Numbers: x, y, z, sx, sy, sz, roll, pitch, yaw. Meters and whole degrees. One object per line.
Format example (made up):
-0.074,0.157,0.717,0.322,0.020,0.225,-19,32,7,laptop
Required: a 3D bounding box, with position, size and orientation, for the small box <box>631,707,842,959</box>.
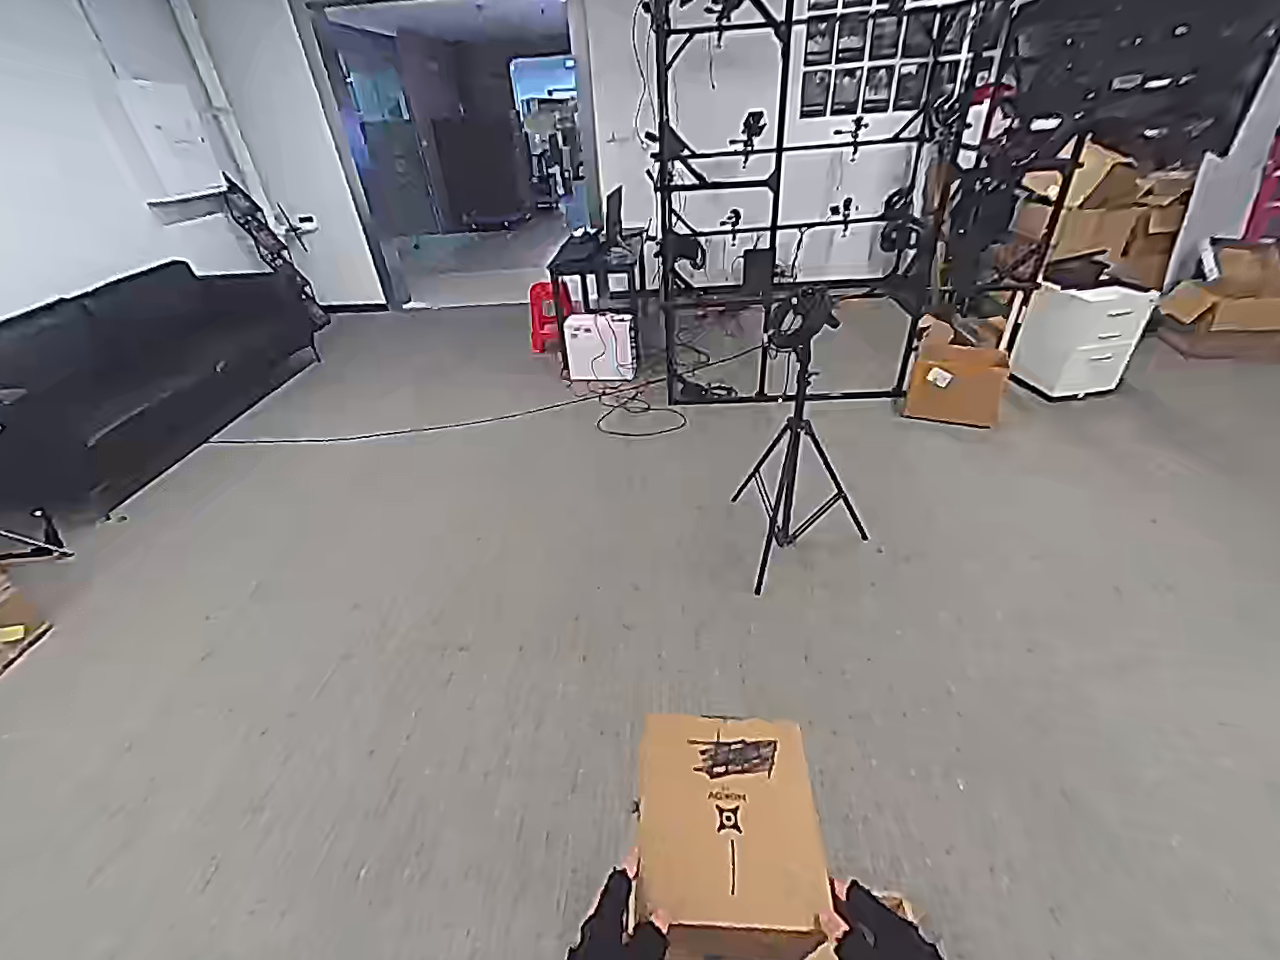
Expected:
0.079,0.358,0.547,0.168,0.176,0.179,4,41,-1,small box
